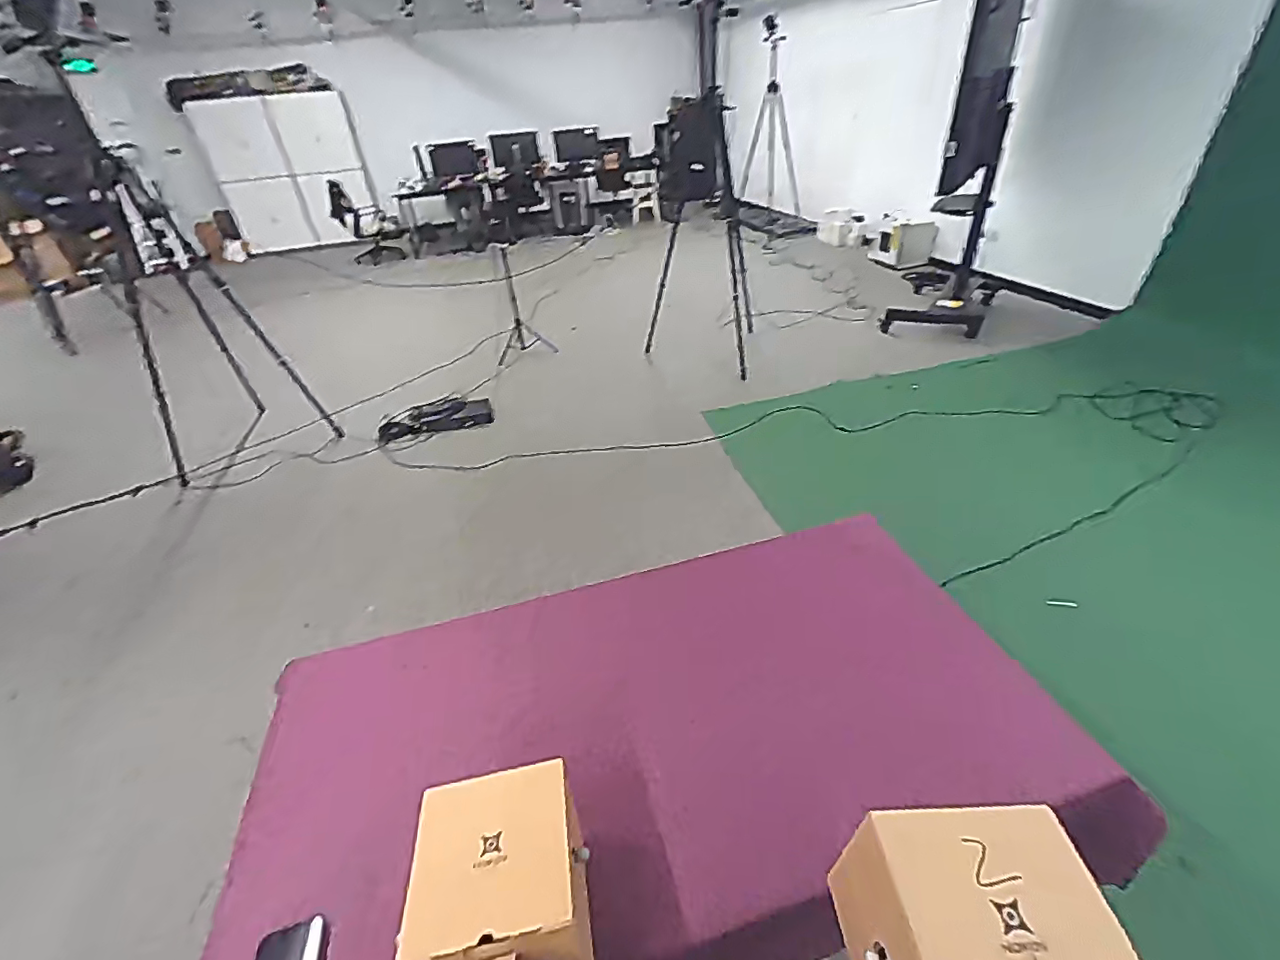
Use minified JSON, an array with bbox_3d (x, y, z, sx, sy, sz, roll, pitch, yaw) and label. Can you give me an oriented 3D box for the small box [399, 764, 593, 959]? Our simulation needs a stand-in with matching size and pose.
[{"bbox_3d":[-0.148,0.465,0.608,0.168,0.176,0.179,-9,28,-7],"label":"small box"}]
